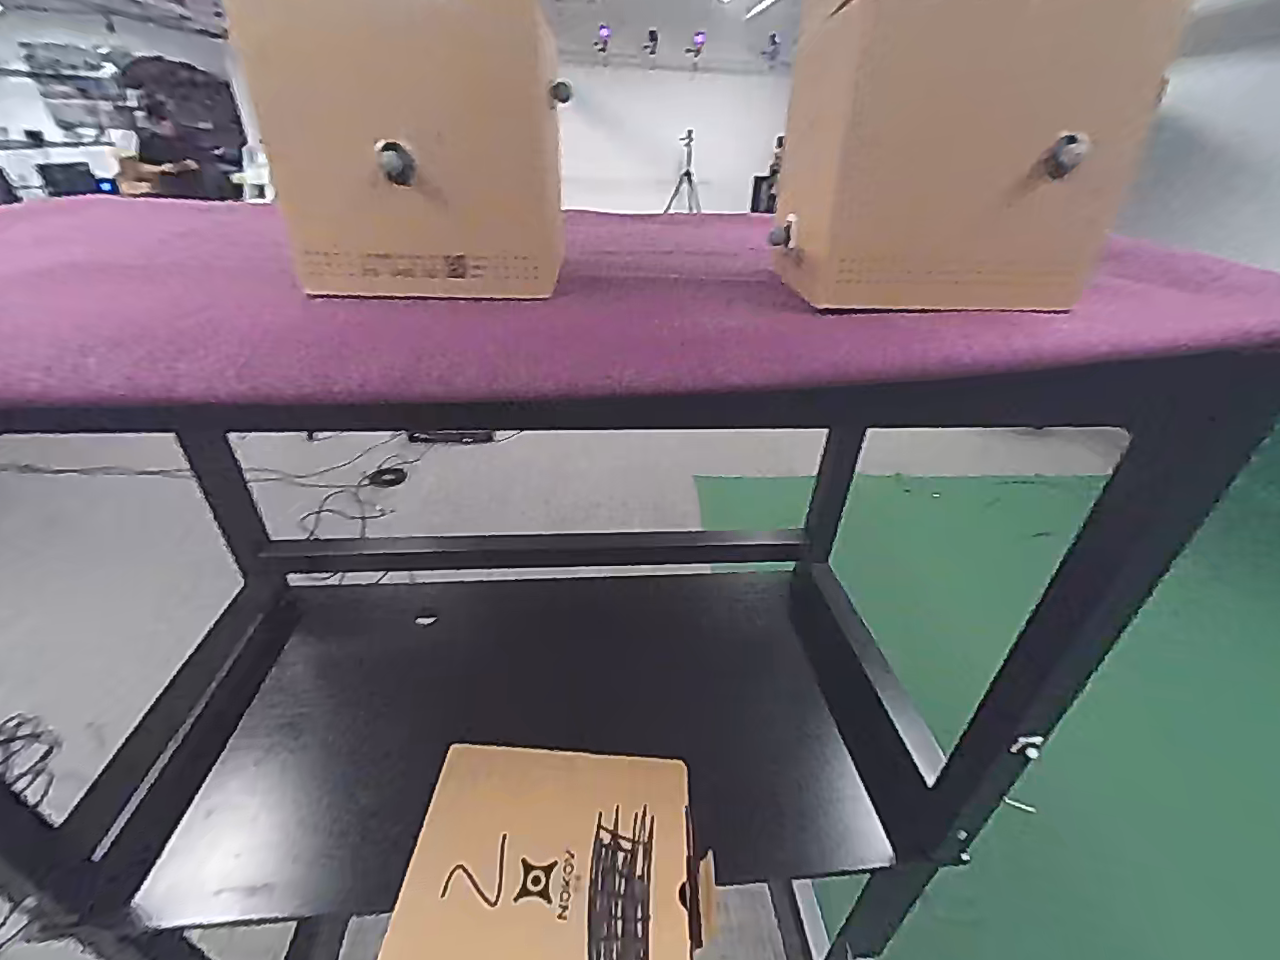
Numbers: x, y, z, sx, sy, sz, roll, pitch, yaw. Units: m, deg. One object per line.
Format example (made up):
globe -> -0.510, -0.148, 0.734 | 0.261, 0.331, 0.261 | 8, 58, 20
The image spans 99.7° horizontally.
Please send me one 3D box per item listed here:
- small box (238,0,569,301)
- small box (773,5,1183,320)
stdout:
small box -> -0.141, -0.238, 0.403 | 0.168, 0.176, 0.179 | 0, 32, -5
small box -> 0.209, -0.220, 0.399 | 0.179, 0.176, 0.168 | 0, 29, 1
